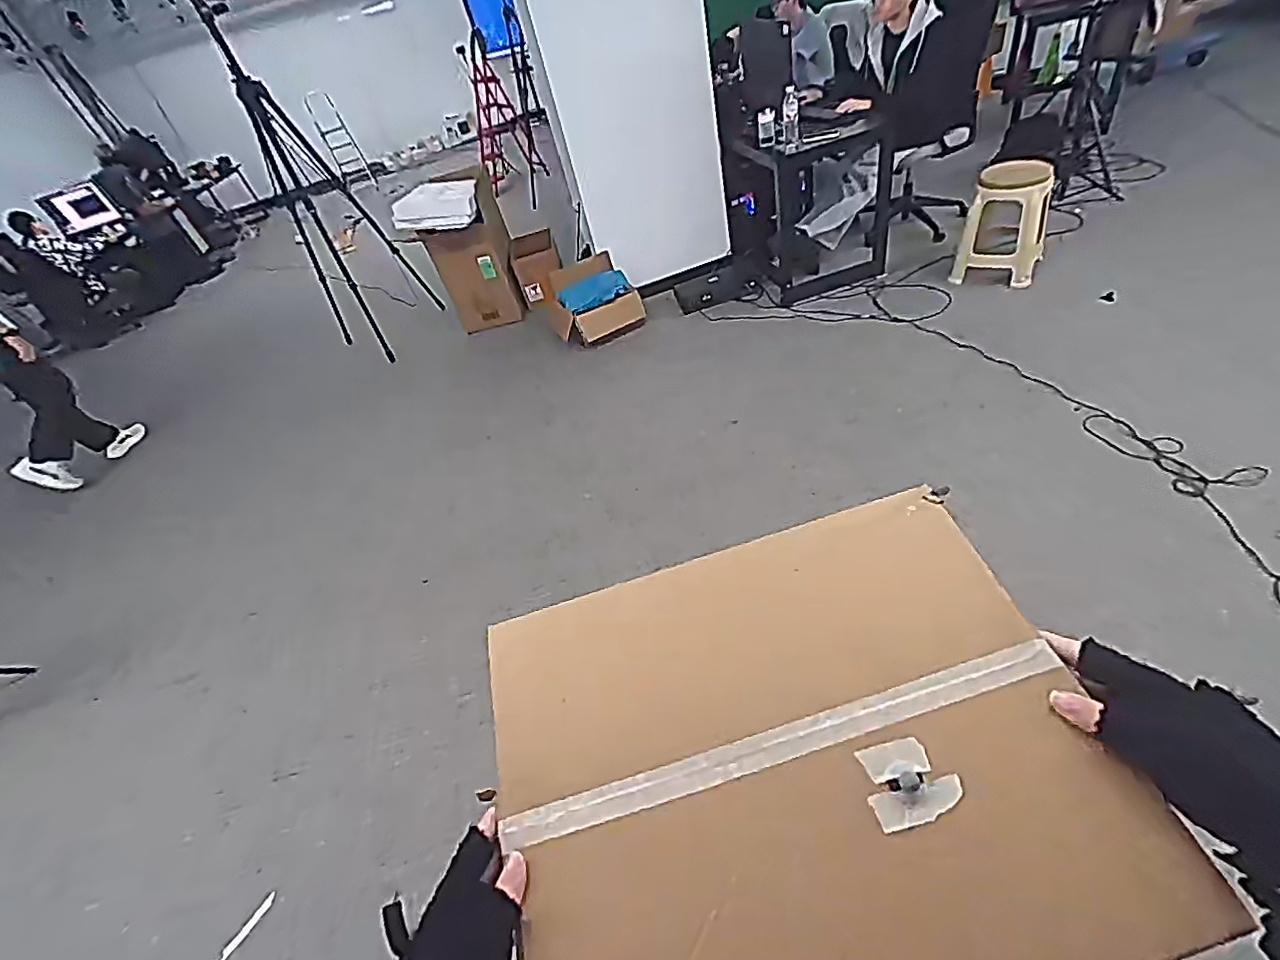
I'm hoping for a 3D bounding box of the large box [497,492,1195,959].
[{"bbox_3d":[0.123,0.273,0.516,0.408,0.320,0.320,-18,54,-2],"label":"large box"}]
